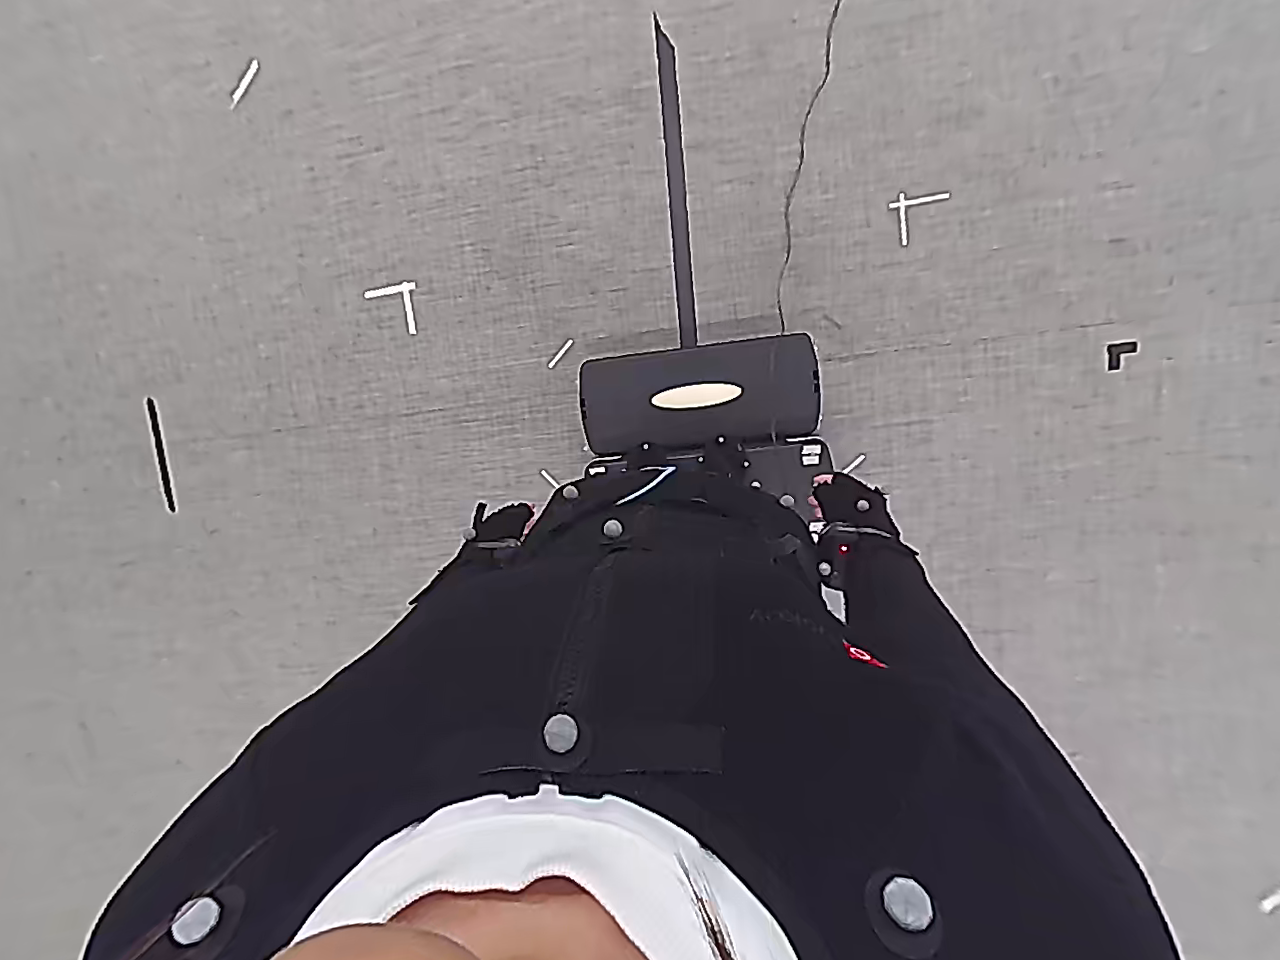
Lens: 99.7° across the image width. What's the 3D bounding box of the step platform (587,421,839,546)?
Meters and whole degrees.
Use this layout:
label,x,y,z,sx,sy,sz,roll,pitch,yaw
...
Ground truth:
label,x,y,z,sx,sy,sz,roll,pitch,yaw
step platform,0.196,0.013,1.519,0.684,0.204,0.286,-6,94,10
